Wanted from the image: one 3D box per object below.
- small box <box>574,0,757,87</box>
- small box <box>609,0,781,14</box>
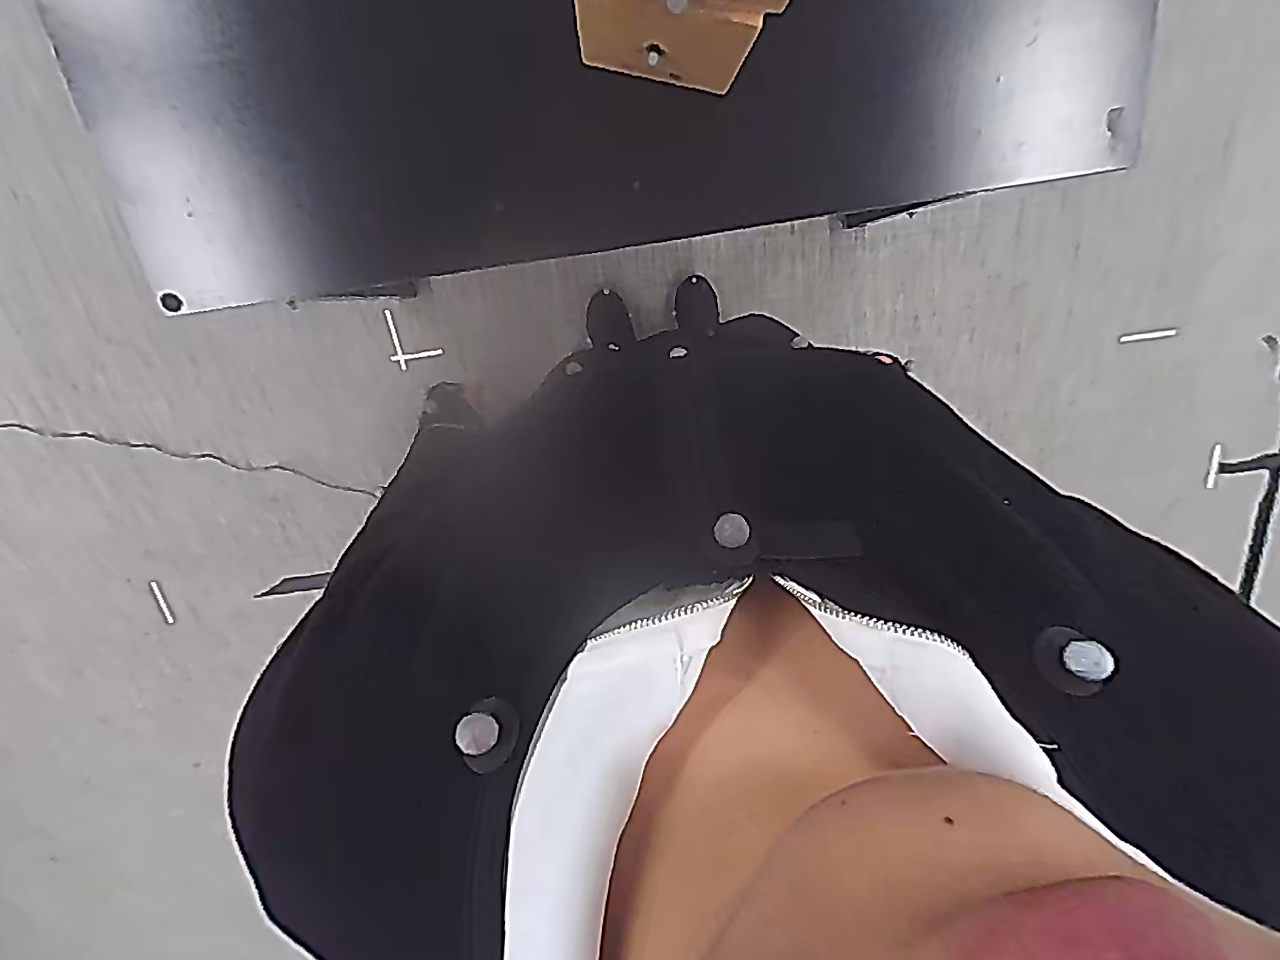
[{"bbox_3d":[0.034,-0.513,0.514,0.168,0.176,0.179,9,108,-6],"label":"small box"},{"bbox_3d":[0.046,-0.460,0.361,0.168,0.176,0.179,0,110,-2],"label":"small box"}]
